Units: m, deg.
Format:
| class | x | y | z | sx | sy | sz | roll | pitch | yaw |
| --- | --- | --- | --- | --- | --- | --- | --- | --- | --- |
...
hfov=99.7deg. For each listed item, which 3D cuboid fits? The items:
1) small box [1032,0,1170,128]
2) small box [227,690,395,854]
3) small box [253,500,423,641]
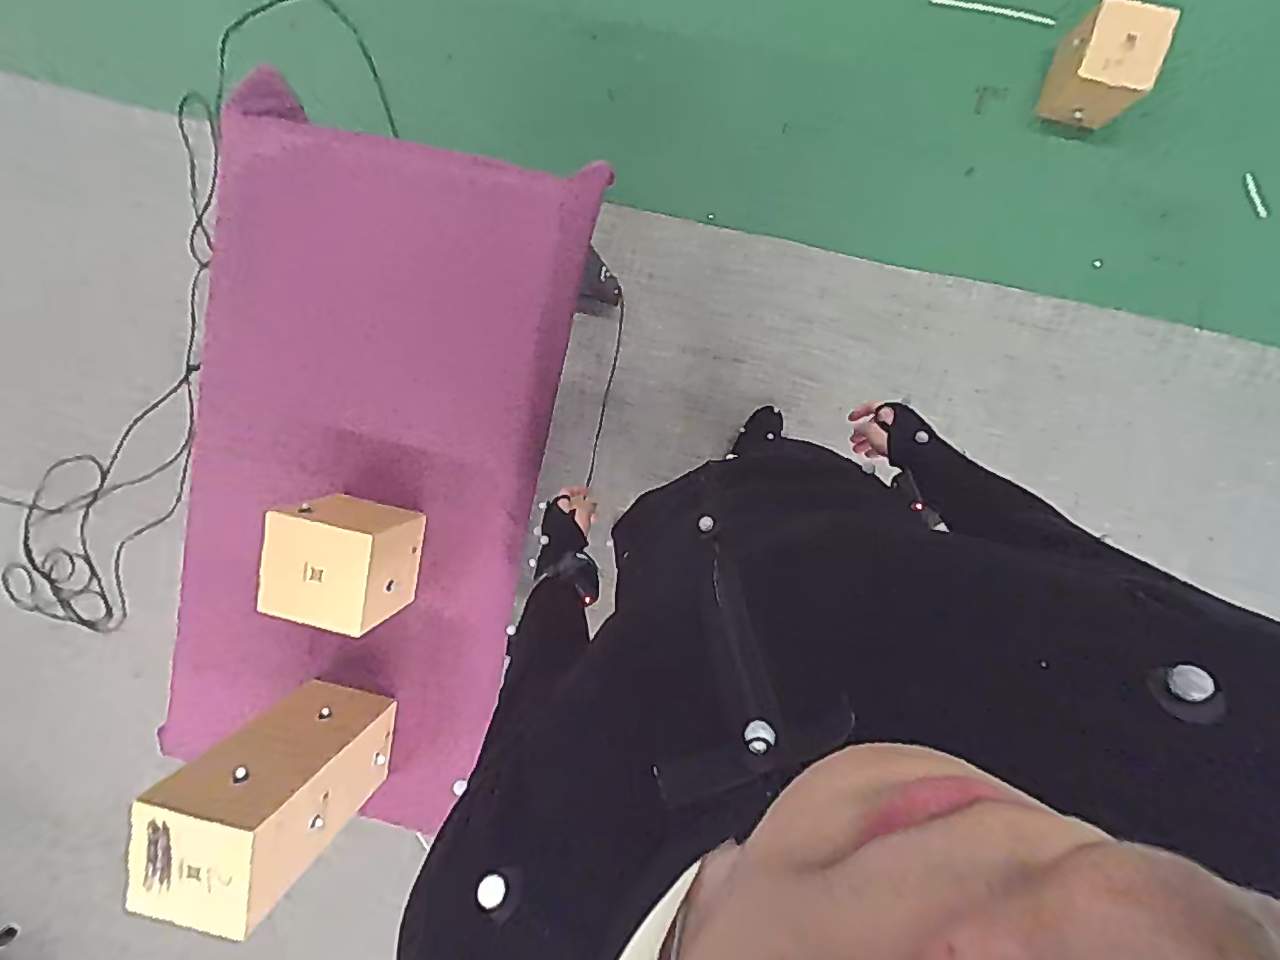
| class | x | y | z | sx | sy | sz | roll | pitch | yaw |
| --- | --- | --- | --- | --- | --- | --- | --- | --- | --- |
| small box | 1.105 | -1.004 | 1.315 | 0.168 | 0.176 | 0.179 | 16 | 98 | 4 |
| small box | -0.555 | 0.486 | 0.928 | 0.179 | 0.176 | 0.168 | 11 | 98 | 4 |
| small box | -0.481 | 0.137 | 0.883 | 0.179 | 0.176 | 0.168 | 12 | 98 | 5 |
